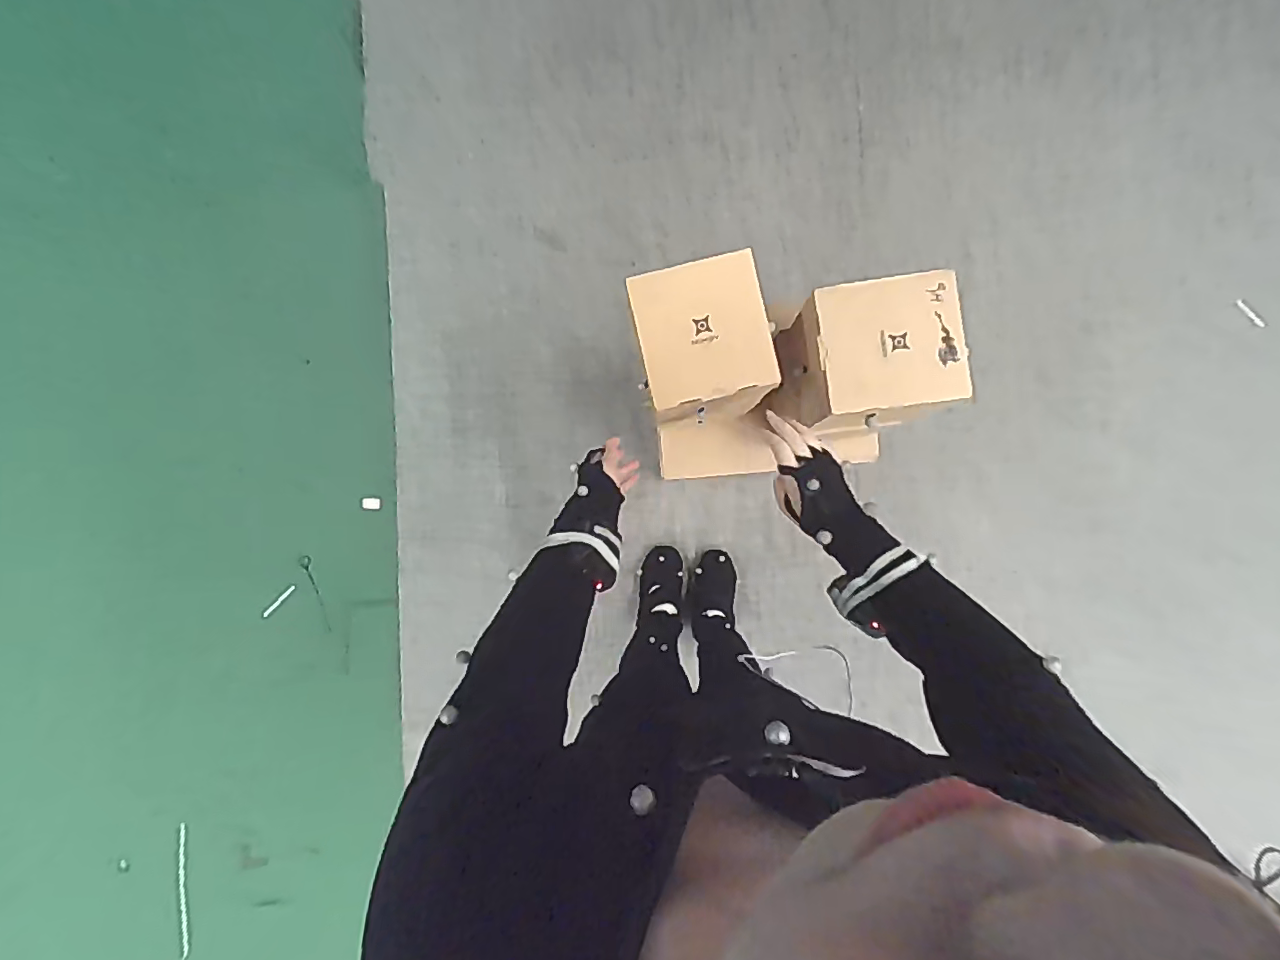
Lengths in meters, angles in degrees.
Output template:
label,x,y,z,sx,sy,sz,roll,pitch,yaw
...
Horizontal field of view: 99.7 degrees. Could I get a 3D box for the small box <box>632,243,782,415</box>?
label,x,y,z,sx,sy,sz,roll,pitch,yaw
small box,0.085,-0.201,0.767,0.168,0.176,0.179,-13,90,2
